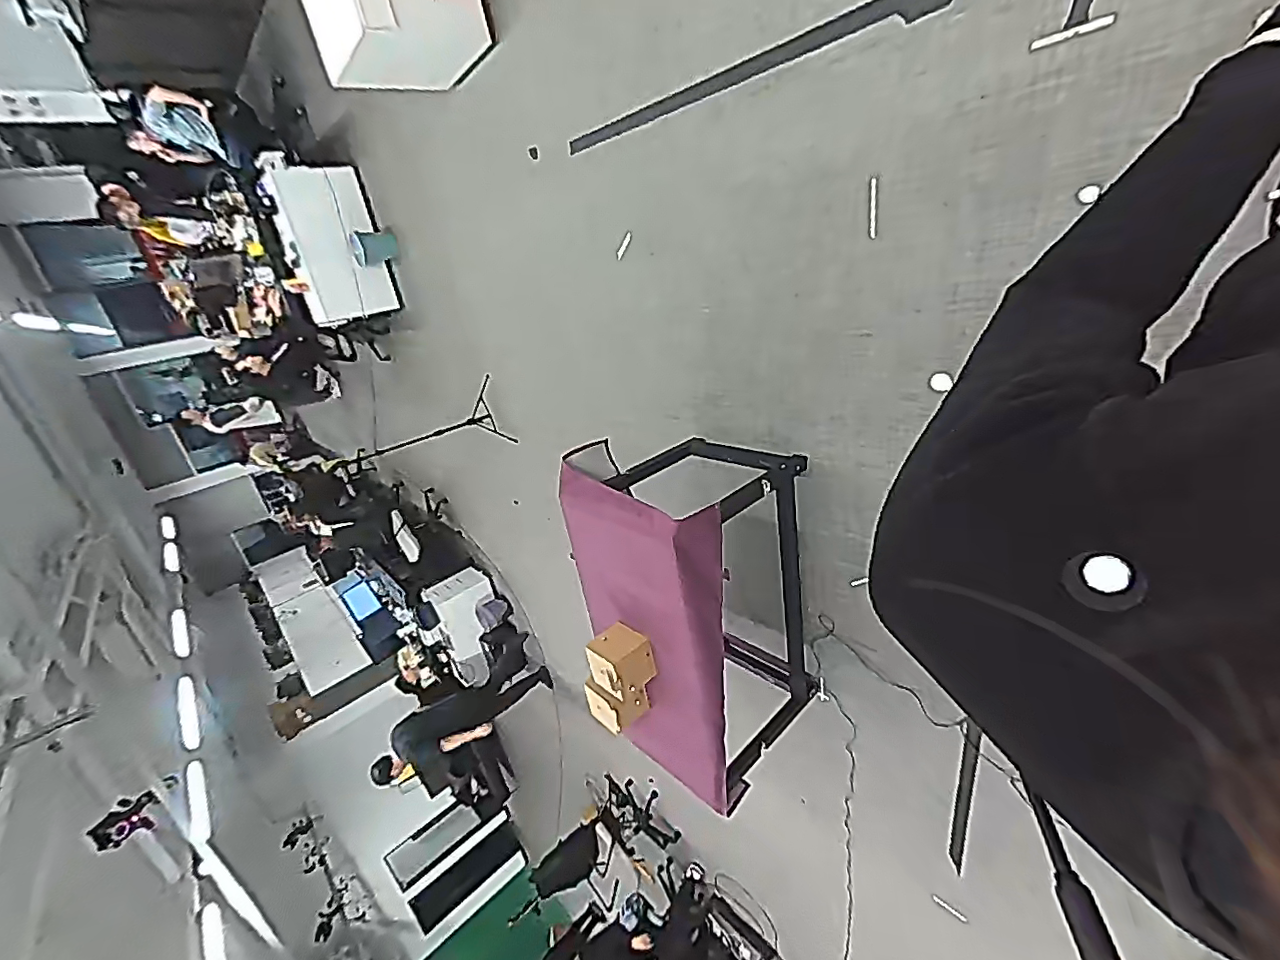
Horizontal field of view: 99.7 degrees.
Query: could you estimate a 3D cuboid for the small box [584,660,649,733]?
[{"bbox_3d":[-0.090,0.836,2.113,0.179,0.176,0.168,14,124,47],"label":"small box"}]
